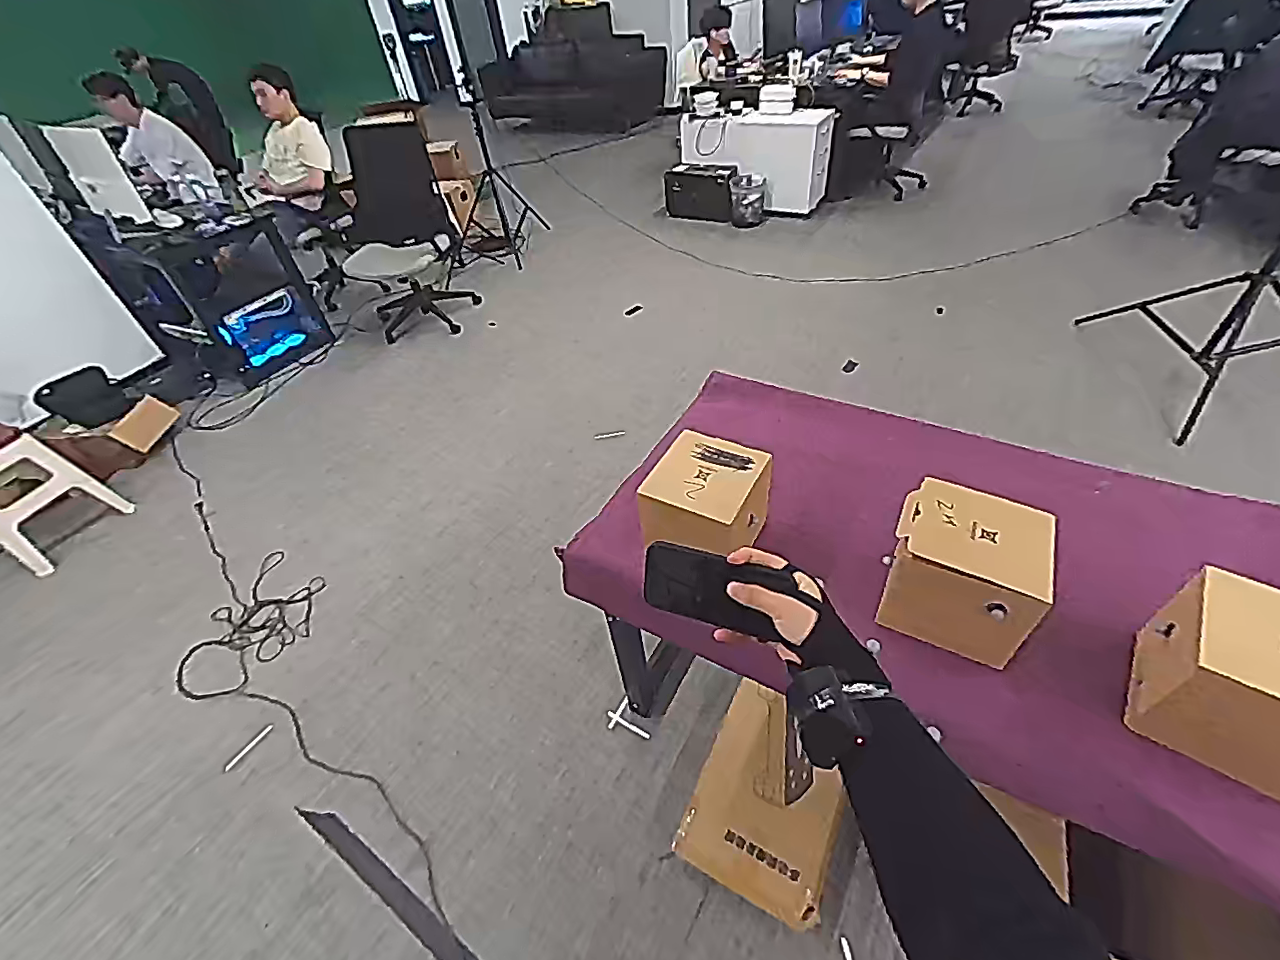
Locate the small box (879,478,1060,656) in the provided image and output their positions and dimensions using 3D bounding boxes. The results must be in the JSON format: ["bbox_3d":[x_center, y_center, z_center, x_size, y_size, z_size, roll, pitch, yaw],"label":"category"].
[{"bbox_3d":[0.474,0.129,0.791,0.179,0.176,0.168,18,47,24],"label":"small box"}]

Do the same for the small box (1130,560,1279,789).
[{"bbox_3d":[0.738,0.235,0.647,0.179,0.176,0.168,25,53,28],"label":"small box"}]
